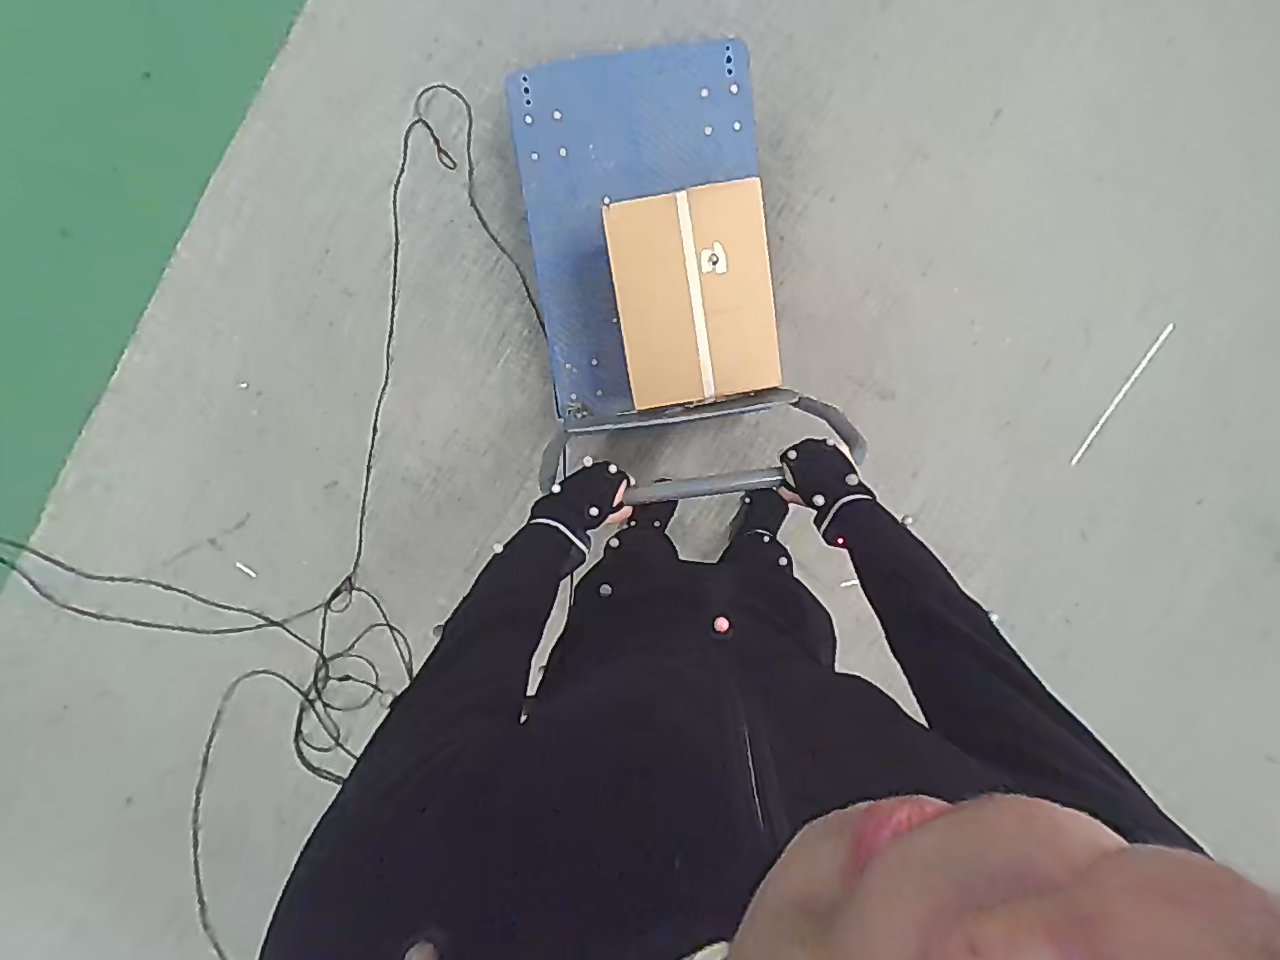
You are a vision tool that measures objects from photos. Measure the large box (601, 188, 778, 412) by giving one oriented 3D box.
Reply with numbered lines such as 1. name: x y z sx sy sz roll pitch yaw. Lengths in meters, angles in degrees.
1. large box: 0.107 -0.387 1.254 0.320 0.320 0.408 -10 100 1
